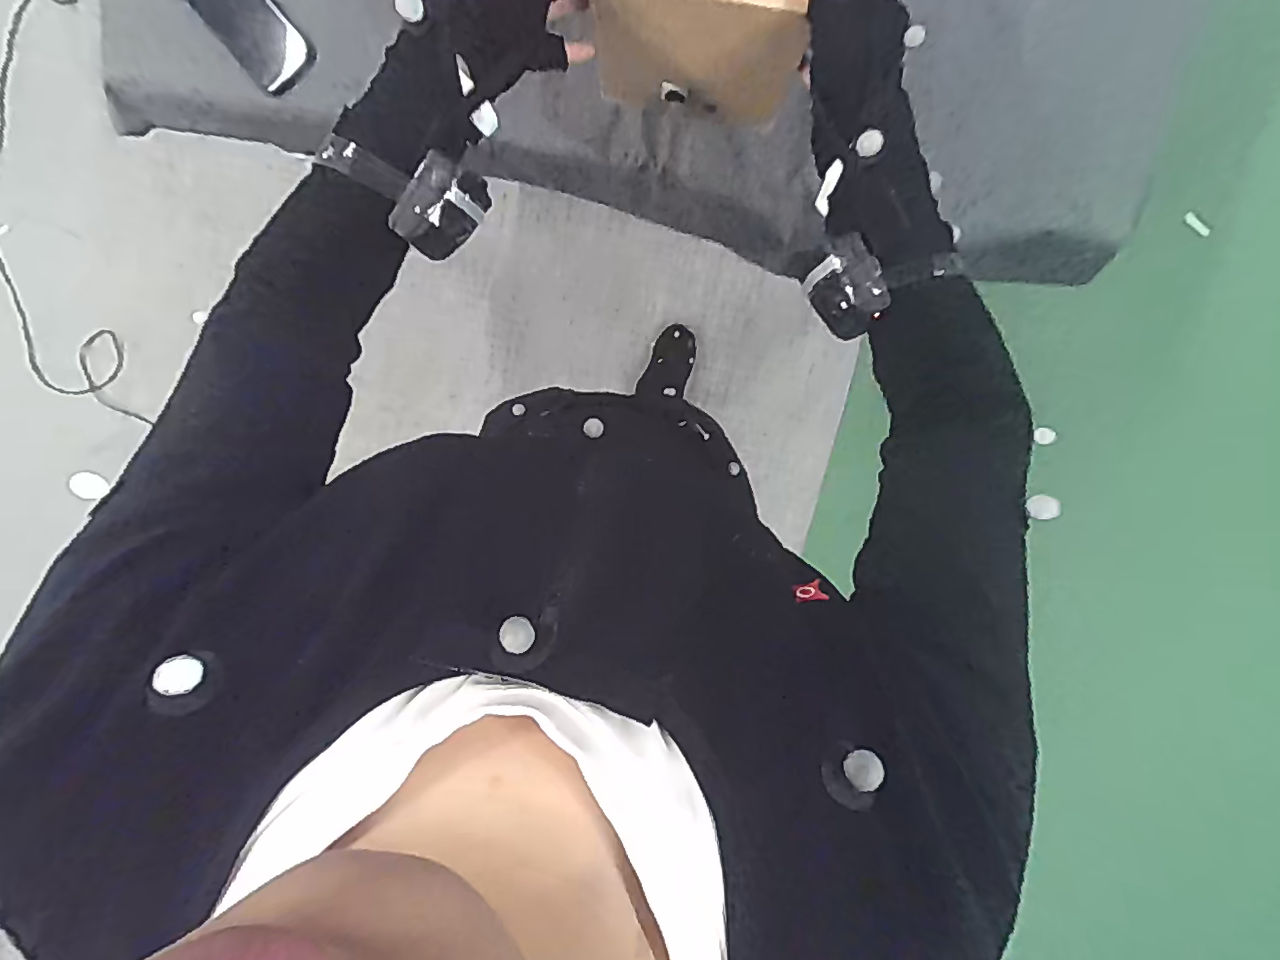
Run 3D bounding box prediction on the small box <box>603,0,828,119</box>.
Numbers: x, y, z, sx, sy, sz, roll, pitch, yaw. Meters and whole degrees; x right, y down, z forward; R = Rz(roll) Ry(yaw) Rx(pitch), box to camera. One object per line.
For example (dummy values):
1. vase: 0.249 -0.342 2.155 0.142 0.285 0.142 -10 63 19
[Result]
1. small box: 0.061 -0.431 0.429 0.168 0.176 0.179 9 101 0
